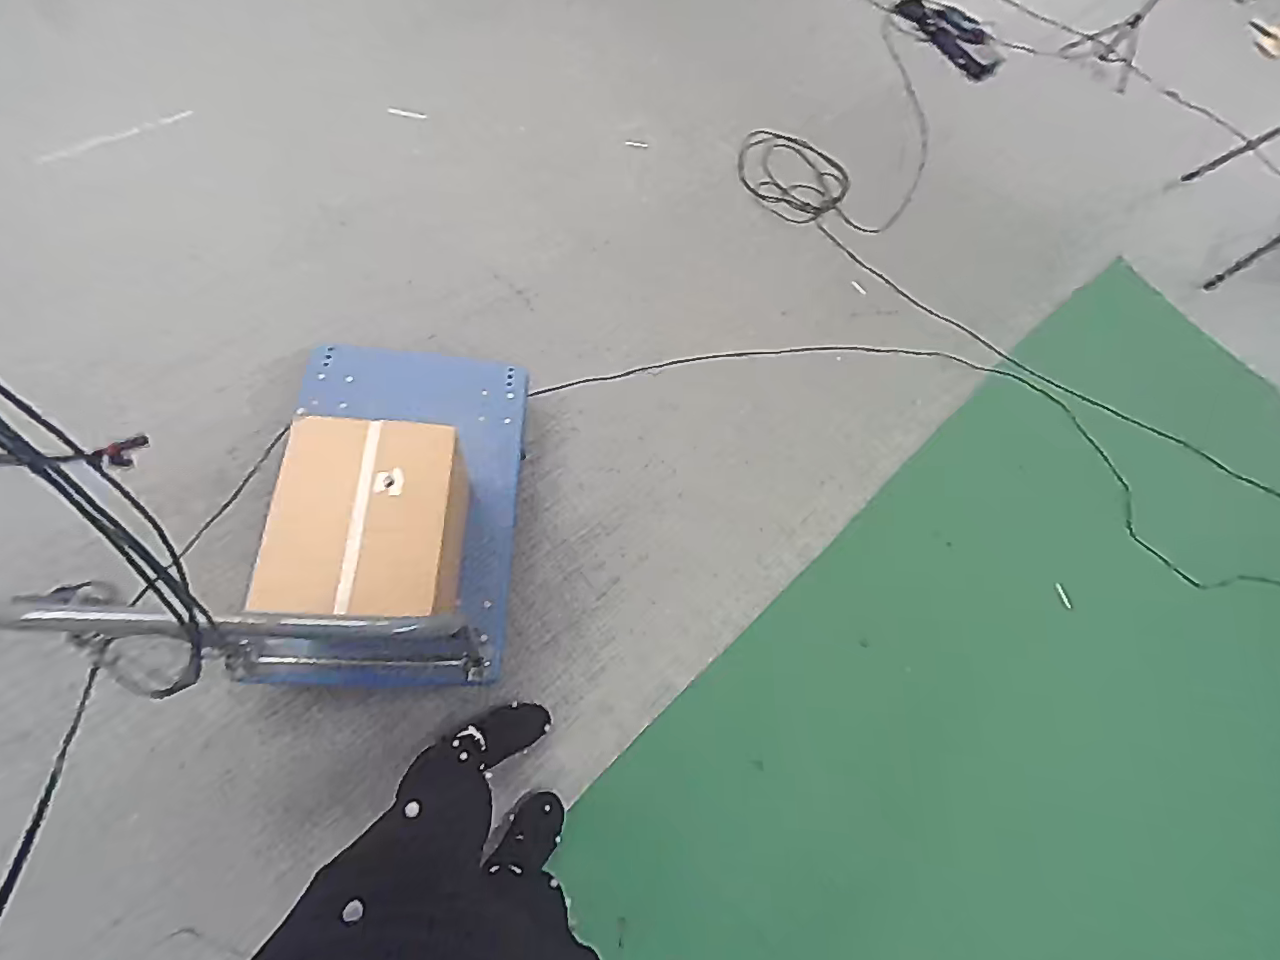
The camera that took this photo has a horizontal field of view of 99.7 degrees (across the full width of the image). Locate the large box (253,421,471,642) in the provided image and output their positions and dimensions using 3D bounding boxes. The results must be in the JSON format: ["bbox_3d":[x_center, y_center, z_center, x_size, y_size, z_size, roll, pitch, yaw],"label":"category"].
[{"bbox_3d":[-0.557,0.128,1.172,0.320,0.320,0.408,4,67,-11],"label":"large box"}]
